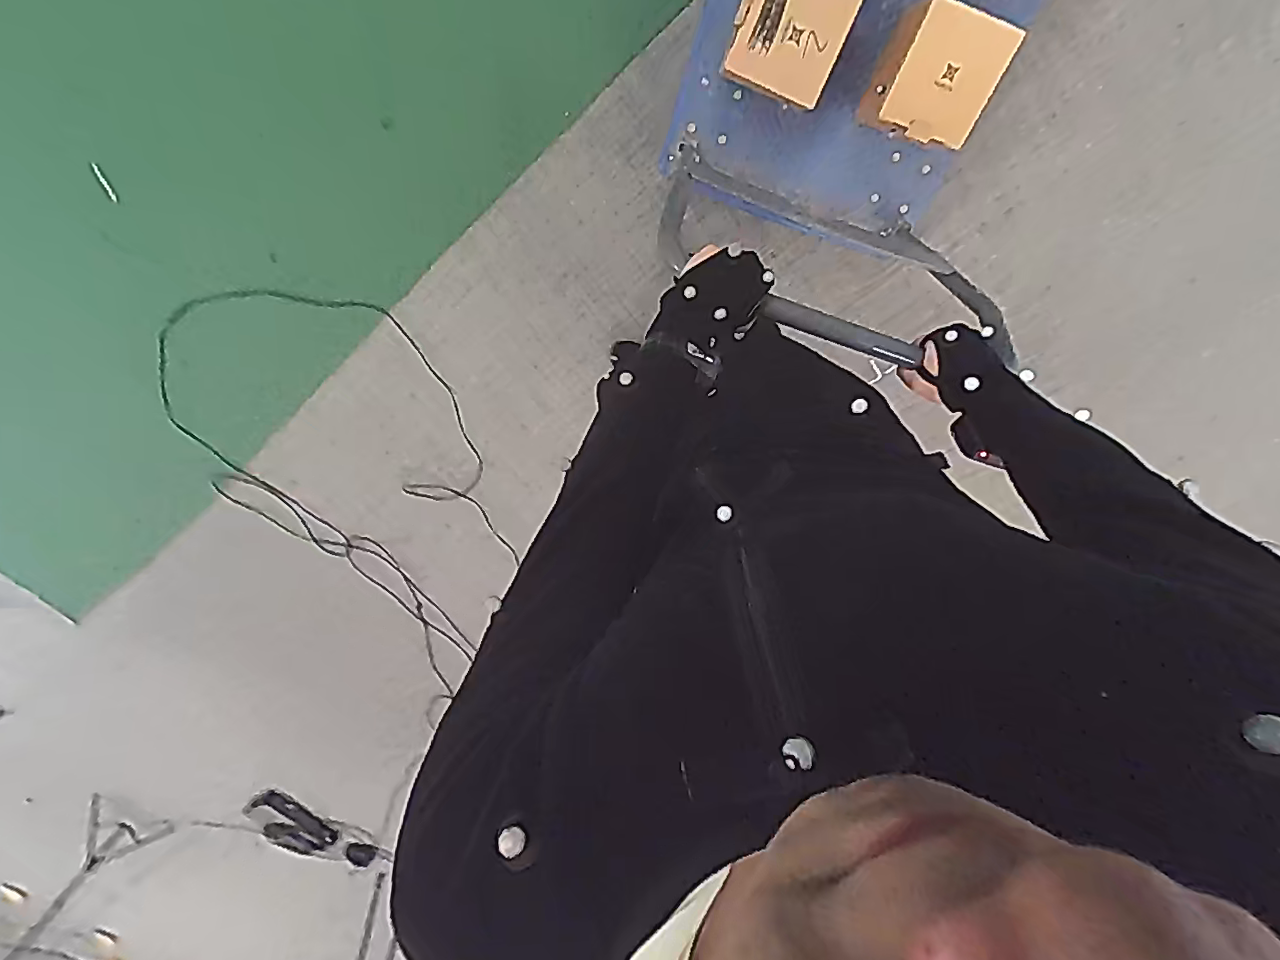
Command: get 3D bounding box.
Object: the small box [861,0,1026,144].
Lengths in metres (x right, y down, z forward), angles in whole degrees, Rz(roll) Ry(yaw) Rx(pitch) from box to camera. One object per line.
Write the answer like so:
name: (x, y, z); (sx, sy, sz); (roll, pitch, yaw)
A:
small box: (0.526, -0.734, 0.973); (0.168, 0.176, 0.179); (17, 125, -6)
